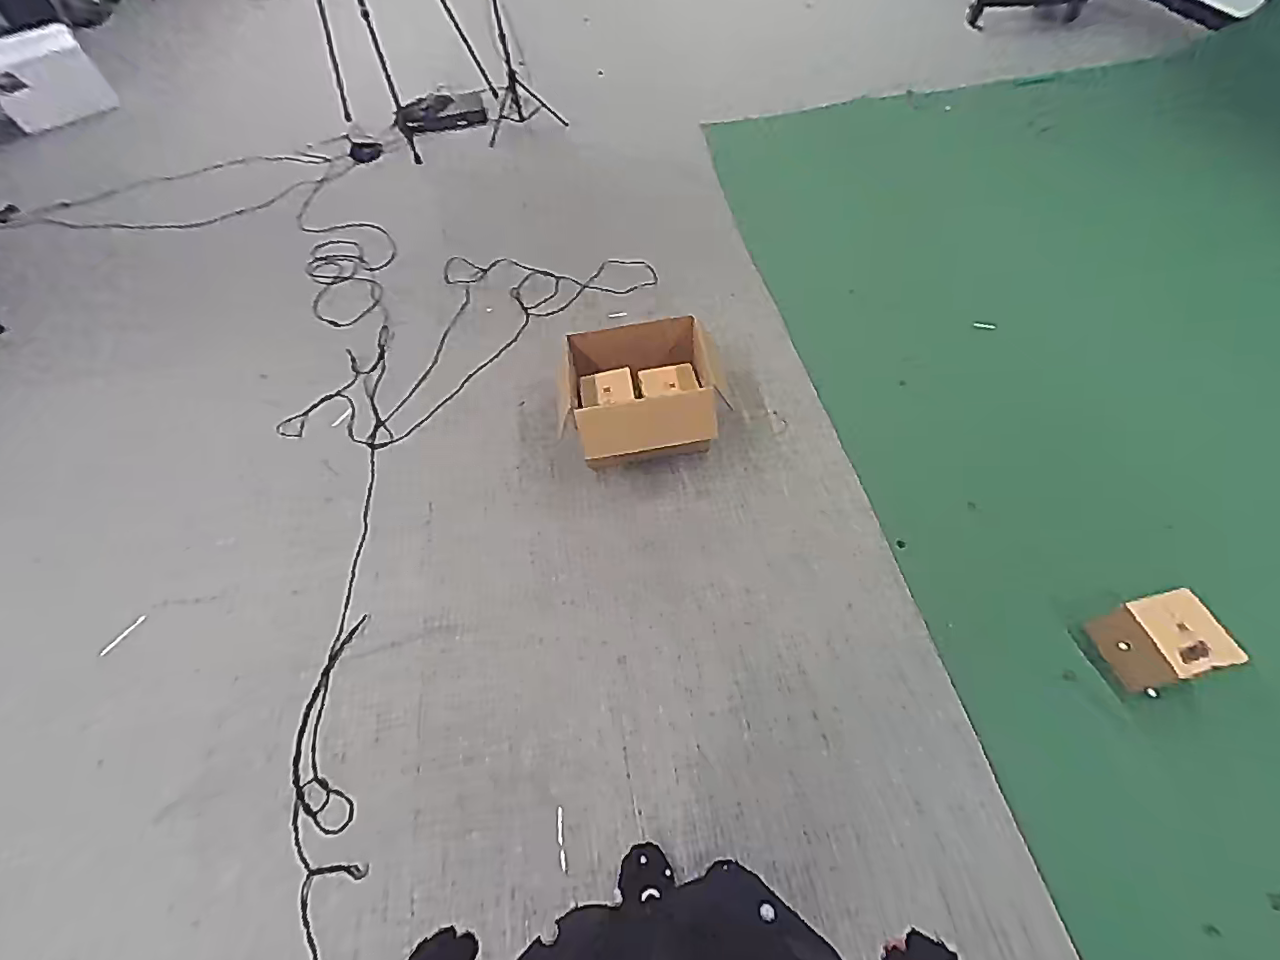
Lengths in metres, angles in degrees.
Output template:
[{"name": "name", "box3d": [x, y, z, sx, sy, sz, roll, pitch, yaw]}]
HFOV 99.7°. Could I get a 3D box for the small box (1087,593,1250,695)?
[{"name": "small box", "box3d": [1.225, 0.393, 1.271, 0.168, 0.176, 0.179, -13, 56, -4]}]
